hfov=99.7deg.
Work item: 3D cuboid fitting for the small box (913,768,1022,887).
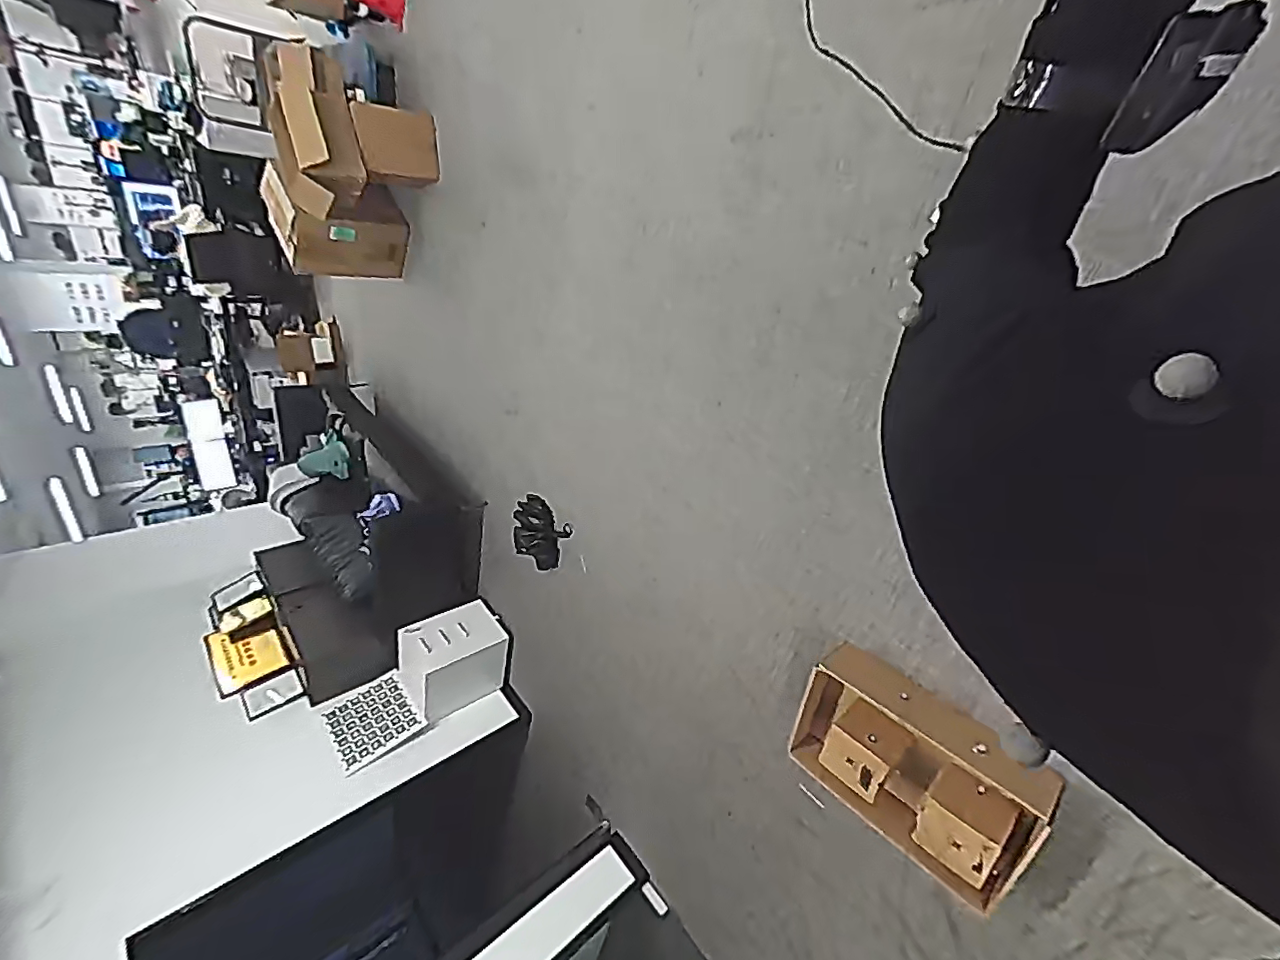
[{"bbox_3d":[0.862,0.900,1.424,0.179,0.176,0.168,28,123,42],"label":"small box"}]

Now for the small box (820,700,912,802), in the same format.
[{"bbox_3d":[0.673,0.793,1.602,0.179,0.176,0.168,31,124,38],"label":"small box"}]
